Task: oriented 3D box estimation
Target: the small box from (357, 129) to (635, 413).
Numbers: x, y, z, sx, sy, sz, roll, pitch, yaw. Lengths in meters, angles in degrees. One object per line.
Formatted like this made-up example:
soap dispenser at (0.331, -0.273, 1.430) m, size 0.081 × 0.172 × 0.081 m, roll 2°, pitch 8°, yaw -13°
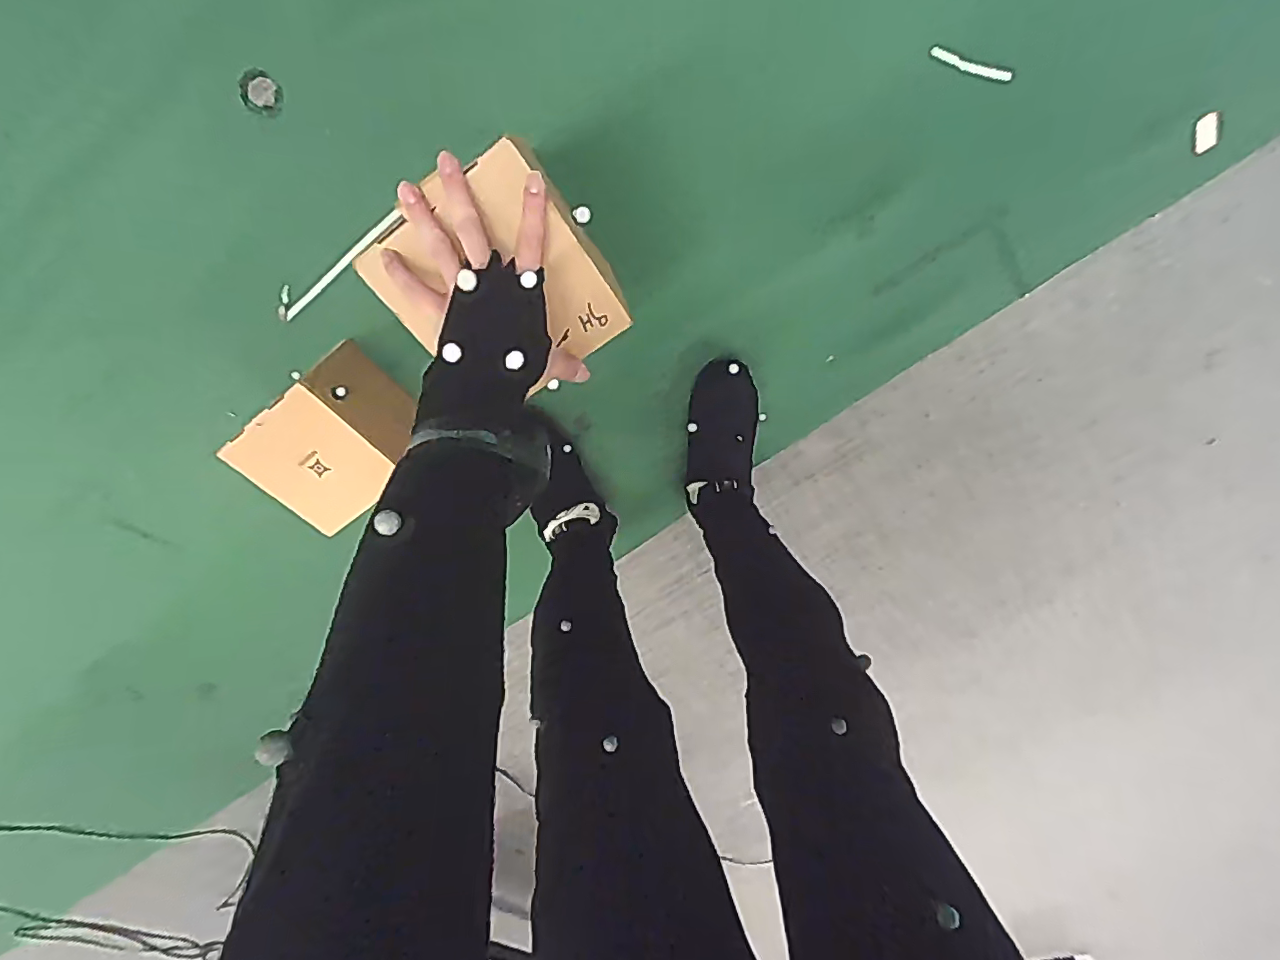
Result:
small box at (-0.126, -0.202, 0.528) m, size 0.168 × 0.176 × 0.179 m, roll -32°, pitch 120°, yaw 12°

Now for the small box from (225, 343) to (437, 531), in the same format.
small box at (-0.425, -0.067, 0.781) m, size 0.168 × 0.176 × 0.179 m, roll -33°, pitch 119°, yaw 15°
